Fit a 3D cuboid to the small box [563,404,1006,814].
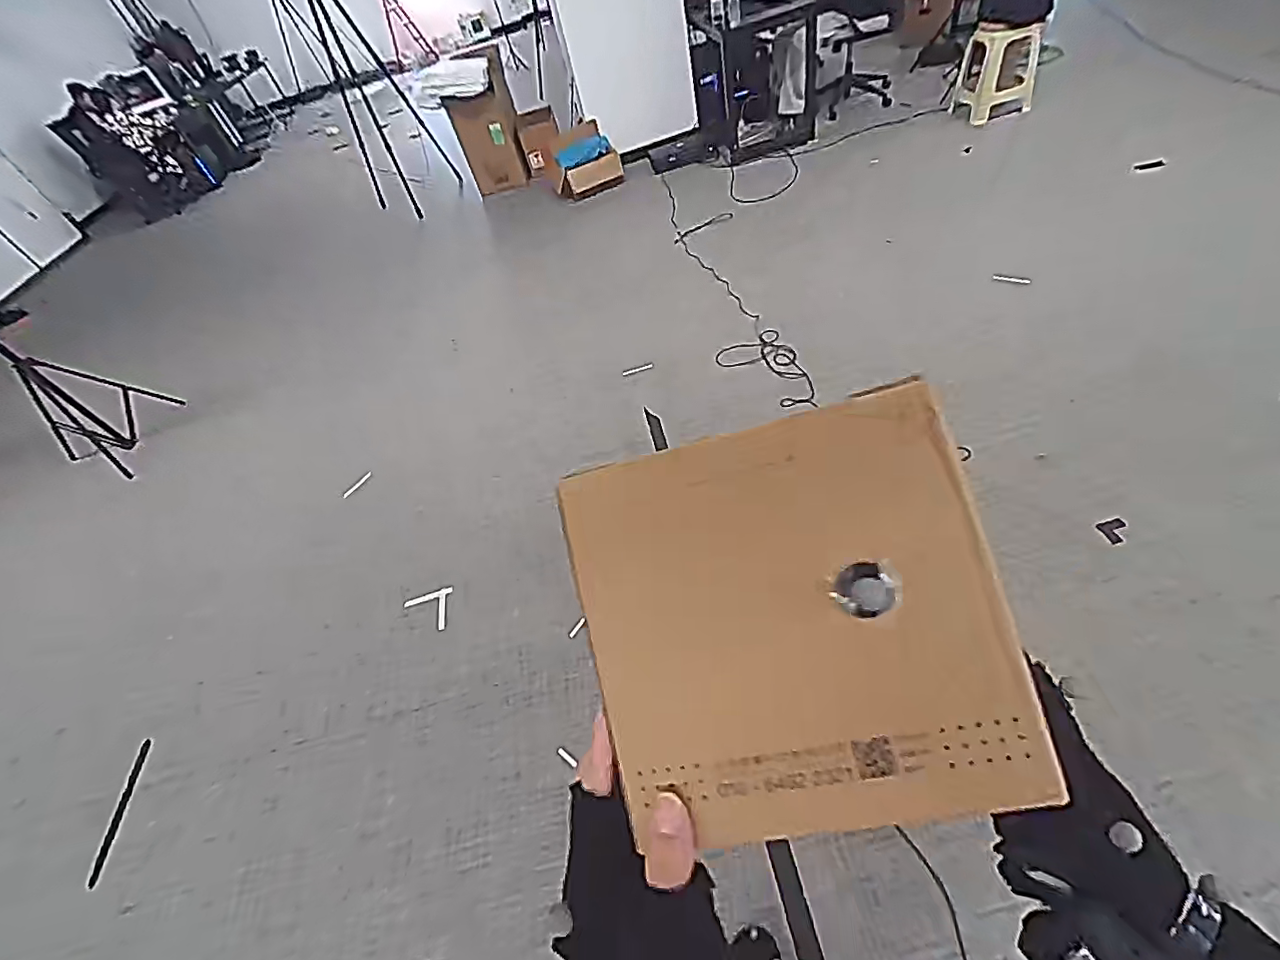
[{"bbox_3d":[0.080,0.073,0.321,0.168,0.179,0.176,-16,82,15],"label":"small box"}]
